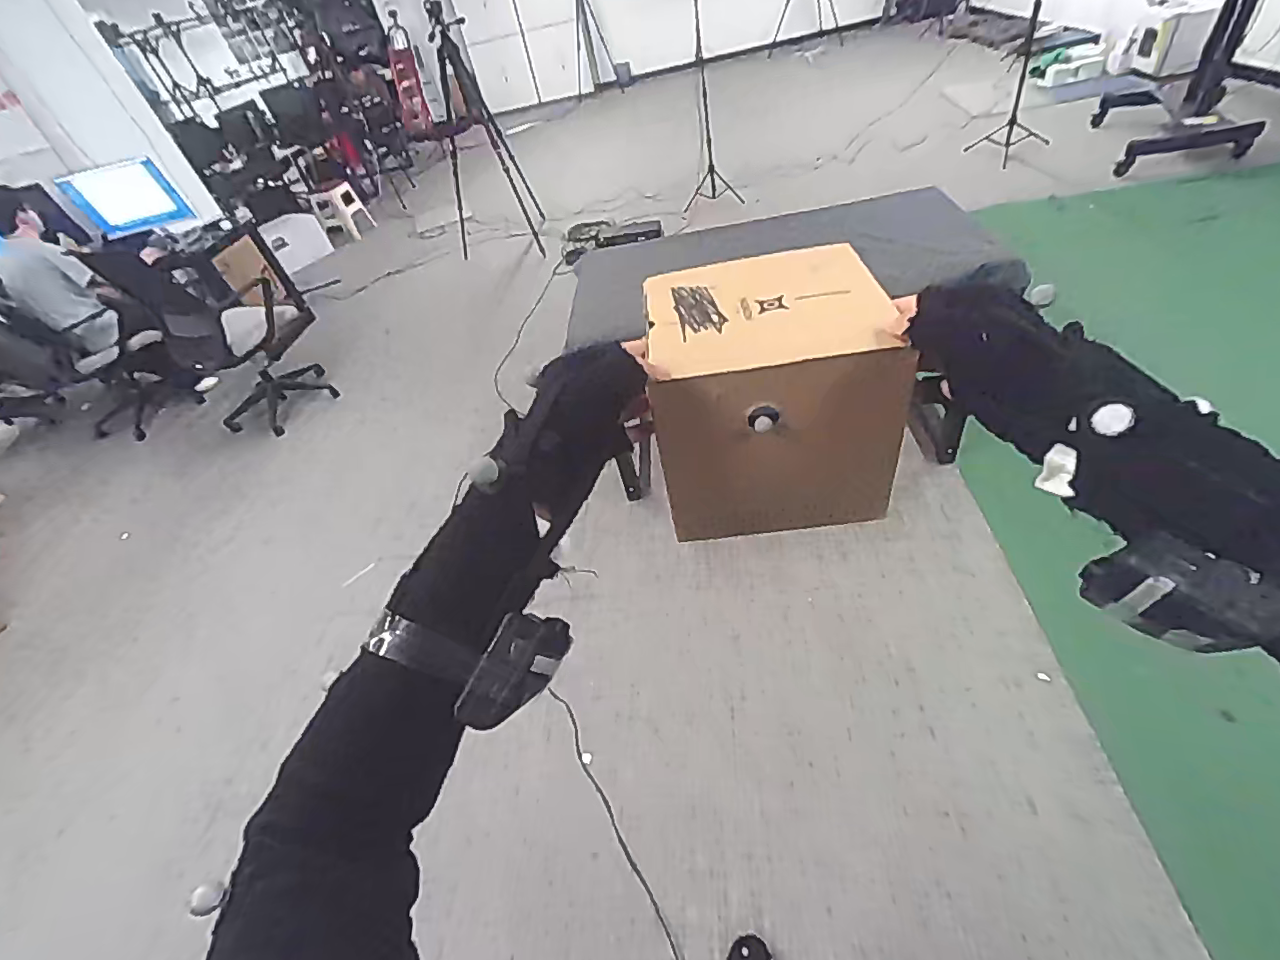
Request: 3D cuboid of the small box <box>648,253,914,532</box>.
[{"bbox_3d":[0.107,-0.070,0.466,0.179,0.176,0.168,-6,43,7],"label":"small box"}]
